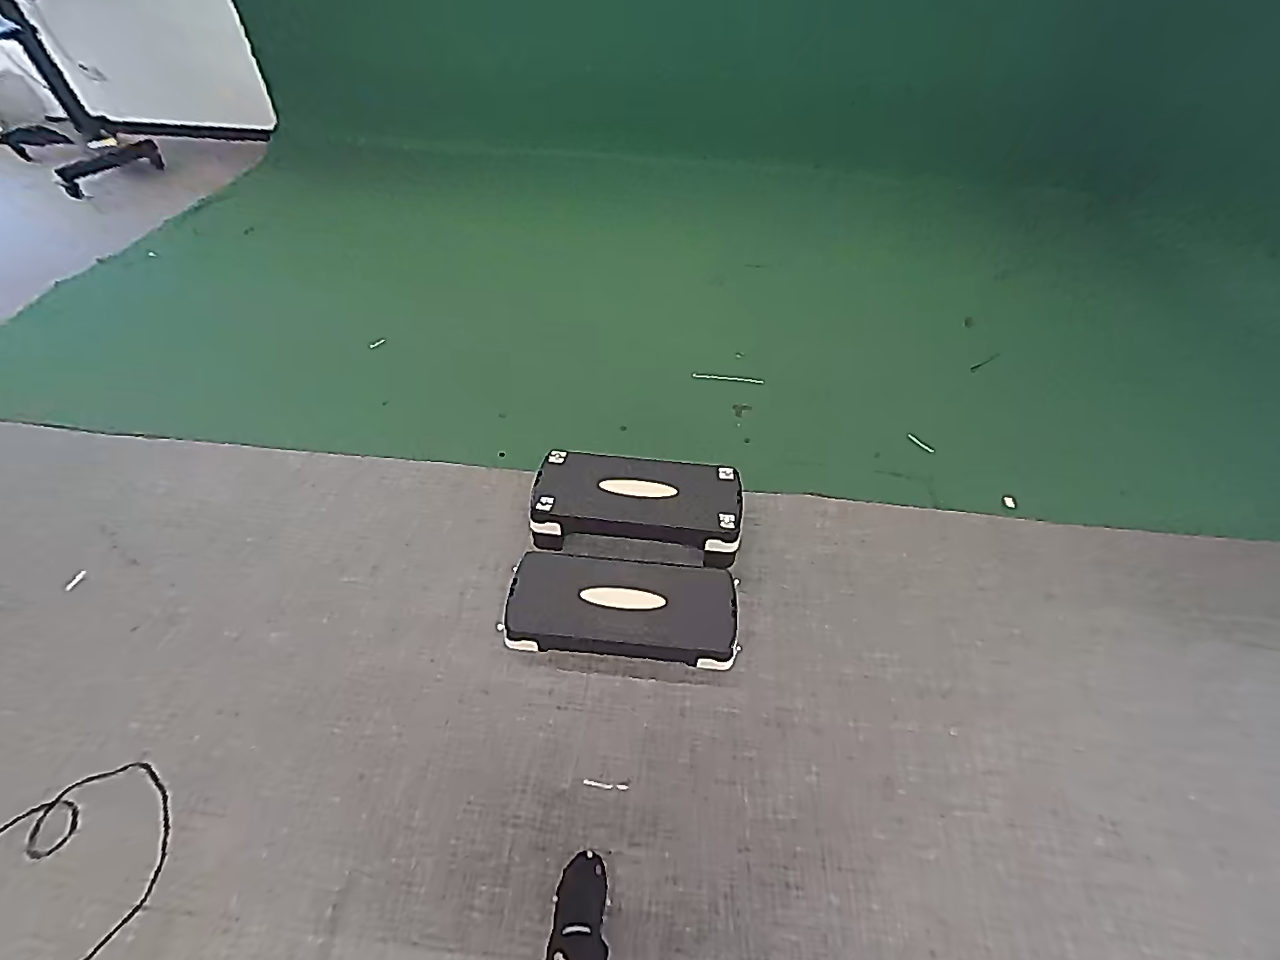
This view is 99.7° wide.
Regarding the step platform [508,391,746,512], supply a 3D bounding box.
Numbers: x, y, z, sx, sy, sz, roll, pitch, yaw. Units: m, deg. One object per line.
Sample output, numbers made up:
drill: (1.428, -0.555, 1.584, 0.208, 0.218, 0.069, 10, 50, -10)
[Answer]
step platform: (-0.035, -0.084, 1.640, 0.684, 0.204, 0.286, 5, 50, 3)
